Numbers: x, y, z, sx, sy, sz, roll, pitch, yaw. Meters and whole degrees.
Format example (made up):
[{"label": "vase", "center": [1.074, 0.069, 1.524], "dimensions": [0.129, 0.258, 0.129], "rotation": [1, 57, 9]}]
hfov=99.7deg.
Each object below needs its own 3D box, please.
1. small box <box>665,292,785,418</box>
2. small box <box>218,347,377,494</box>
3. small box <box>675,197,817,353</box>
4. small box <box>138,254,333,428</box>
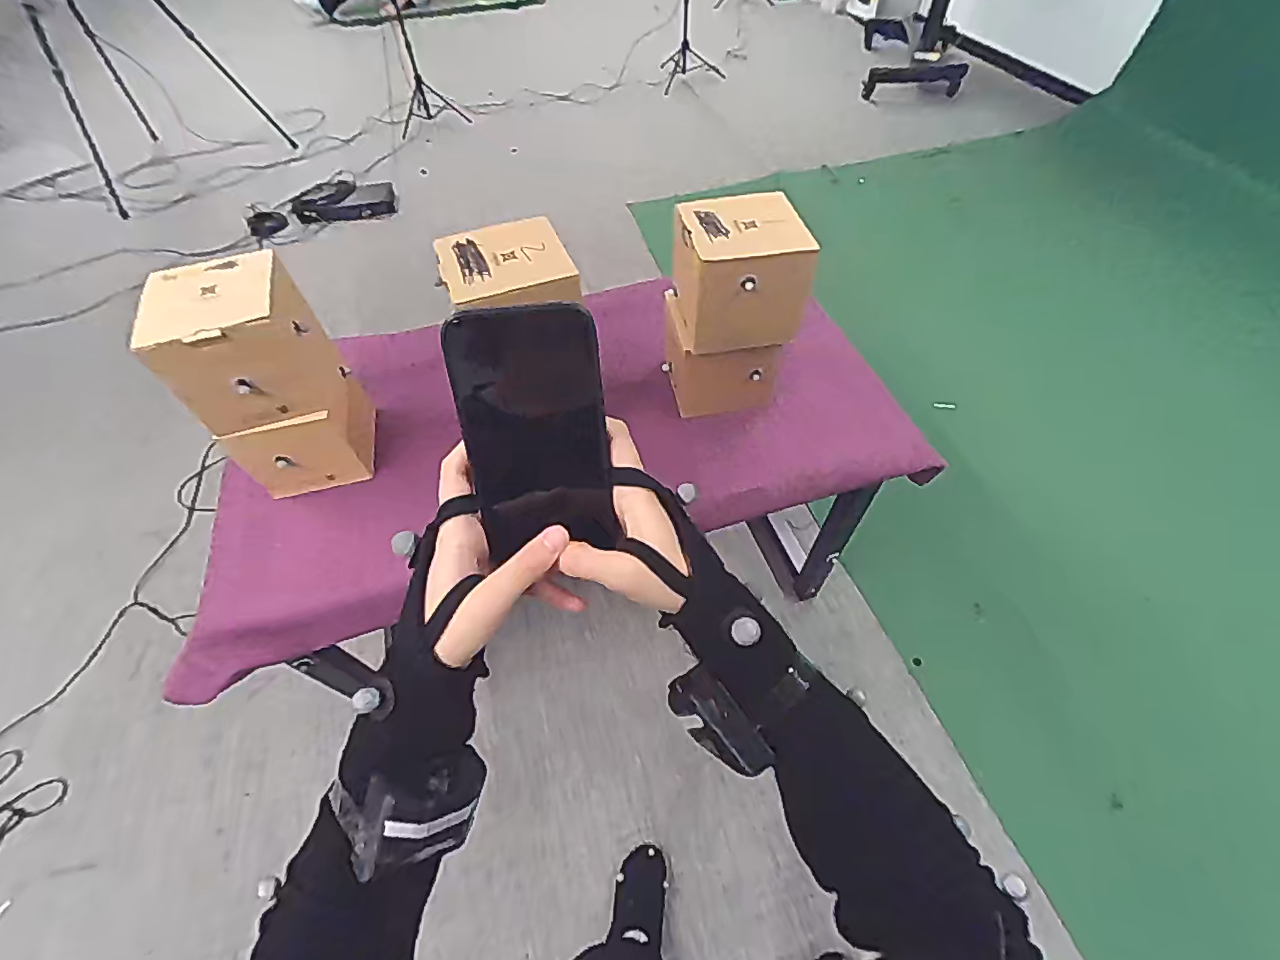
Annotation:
[{"label": "small box", "center": [0.146, -0.236, 1.003], "dimensions": [0.179, 0.176, 0.168], "rotation": [-9, 54, -4]}, {"label": "small box", "center": [-0.566, -0.093, 0.922], "dimensions": [0.168, 0.176, 0.179], "rotation": [-13, 55, -7]}, {"label": "small box", "center": [0.155, -0.321, 0.863], "dimensions": [0.179, 0.176, 0.168], "rotation": [-8, 54, -5]}, {"label": "small box", "center": [-0.573, -0.195, 0.793], "dimensions": [0.168, 0.176, 0.179], "rotation": [-17, 56, -11]}]
